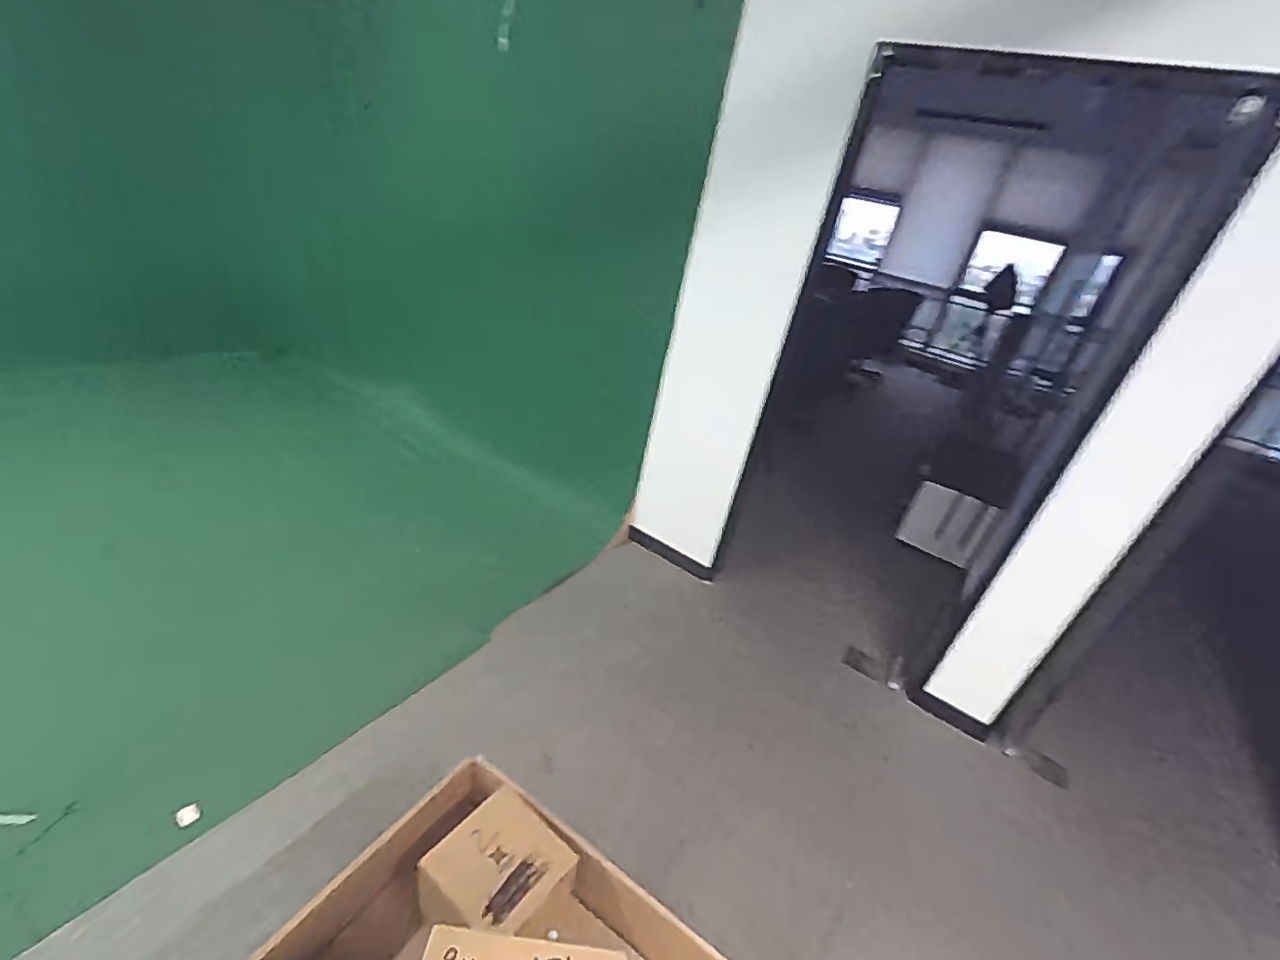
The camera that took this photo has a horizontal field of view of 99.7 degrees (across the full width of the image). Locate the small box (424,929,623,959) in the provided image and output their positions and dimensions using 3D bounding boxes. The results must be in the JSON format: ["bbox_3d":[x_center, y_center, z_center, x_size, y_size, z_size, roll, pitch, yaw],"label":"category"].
[{"bbox_3d":[-0.109,0.496,0.422,0.168,0.176,0.179,10,35,-3],"label":"small box"}]
